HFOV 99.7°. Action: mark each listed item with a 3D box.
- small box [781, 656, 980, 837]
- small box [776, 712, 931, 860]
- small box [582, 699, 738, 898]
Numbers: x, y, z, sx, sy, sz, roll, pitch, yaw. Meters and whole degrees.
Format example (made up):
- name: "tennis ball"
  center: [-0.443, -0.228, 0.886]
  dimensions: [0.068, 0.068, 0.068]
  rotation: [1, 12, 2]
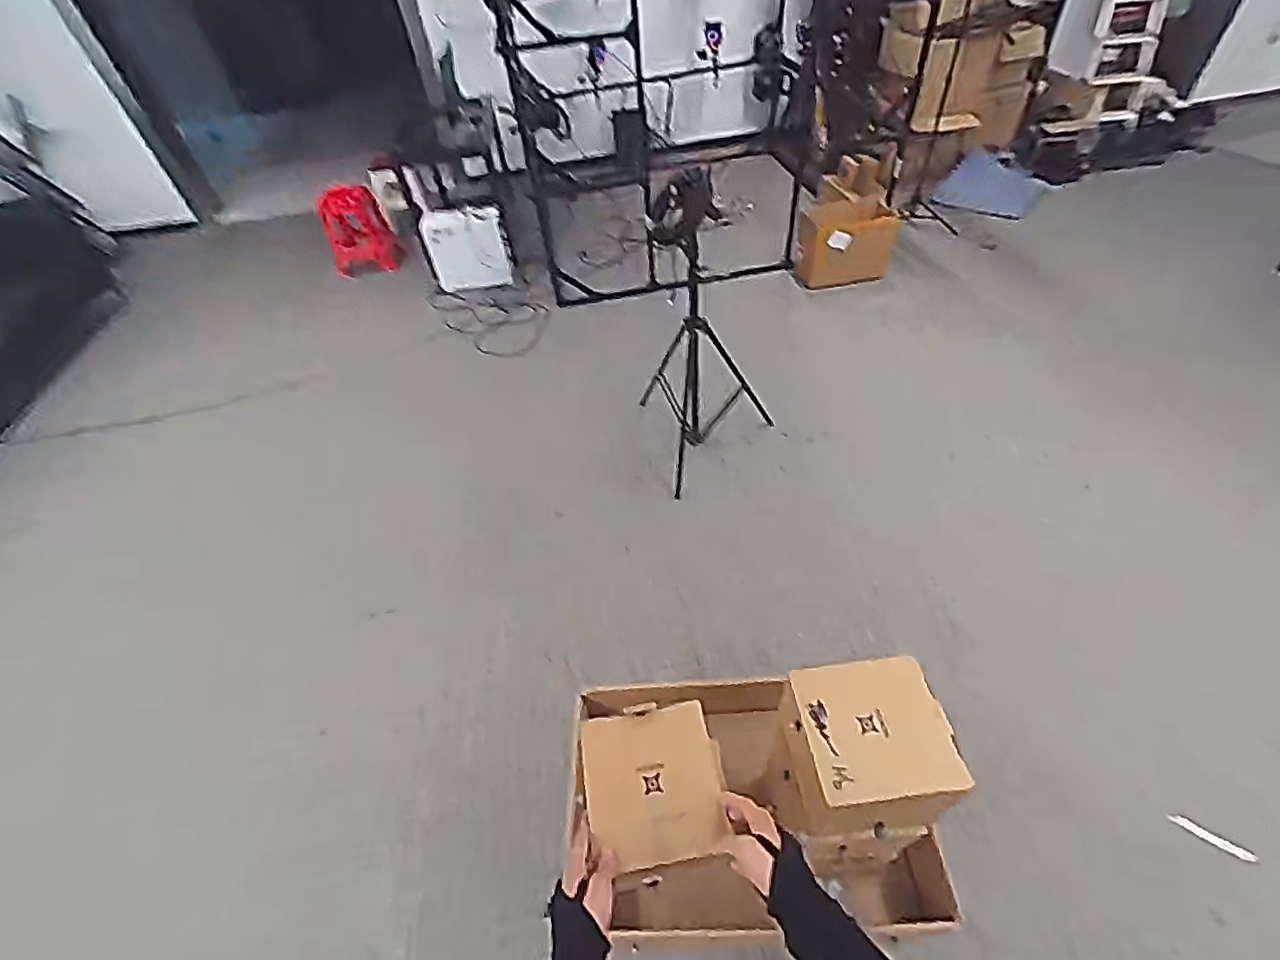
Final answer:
- name: "small box"
  center: [0.300, 0.356, 0.720]
  dimensions: [0.179, 0.176, 0.168]
  rotation: [-7, 45, 0]
- name: "small box"
  center: [0.313, 0.471, 0.836]
  dimensions: [0.168, 0.176, 0.179]
  rotation: [-6, 45, 2]
- name: "small box"
  center: [0.018, 0.419, 0.713]
  dimensions: [0.168, 0.176, 0.179]
  rotation: [-8, 47, -6]
